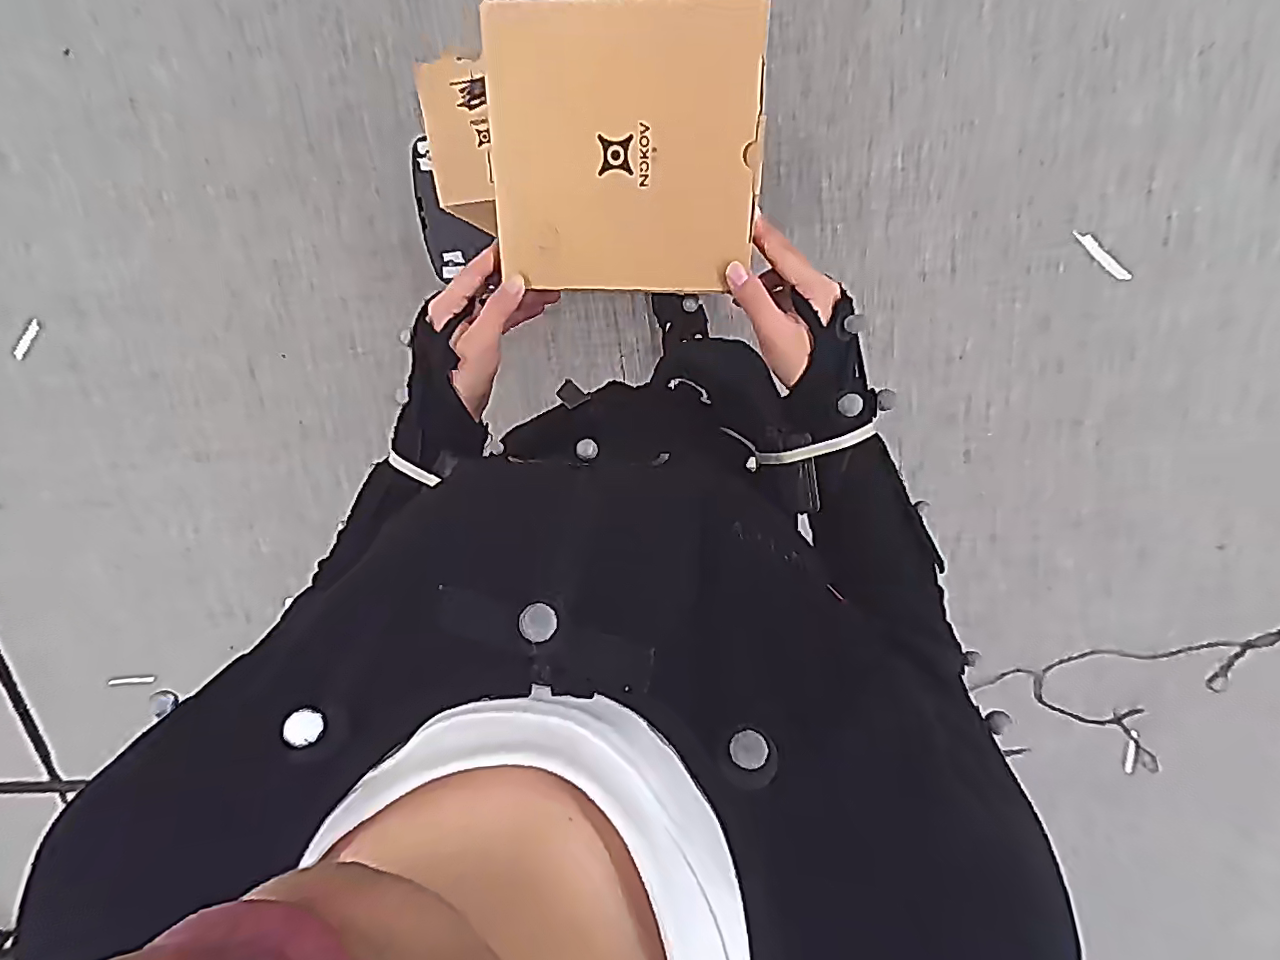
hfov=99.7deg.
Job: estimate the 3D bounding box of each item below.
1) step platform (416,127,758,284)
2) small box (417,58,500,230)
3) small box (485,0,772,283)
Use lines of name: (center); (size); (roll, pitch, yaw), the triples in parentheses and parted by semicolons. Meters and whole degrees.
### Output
step platform: (-0.102, -0.602, 1.126); (0.684, 0.204, 0.286); (-6, 104, 6)
small box: (-0.206, -0.492, 0.812); (0.168, 0.176, 0.179); (-4, 105, 5)
small box: (-0.003, -0.244, 0.424); (0.179, 0.176, 0.168); (2, 111, 3)
